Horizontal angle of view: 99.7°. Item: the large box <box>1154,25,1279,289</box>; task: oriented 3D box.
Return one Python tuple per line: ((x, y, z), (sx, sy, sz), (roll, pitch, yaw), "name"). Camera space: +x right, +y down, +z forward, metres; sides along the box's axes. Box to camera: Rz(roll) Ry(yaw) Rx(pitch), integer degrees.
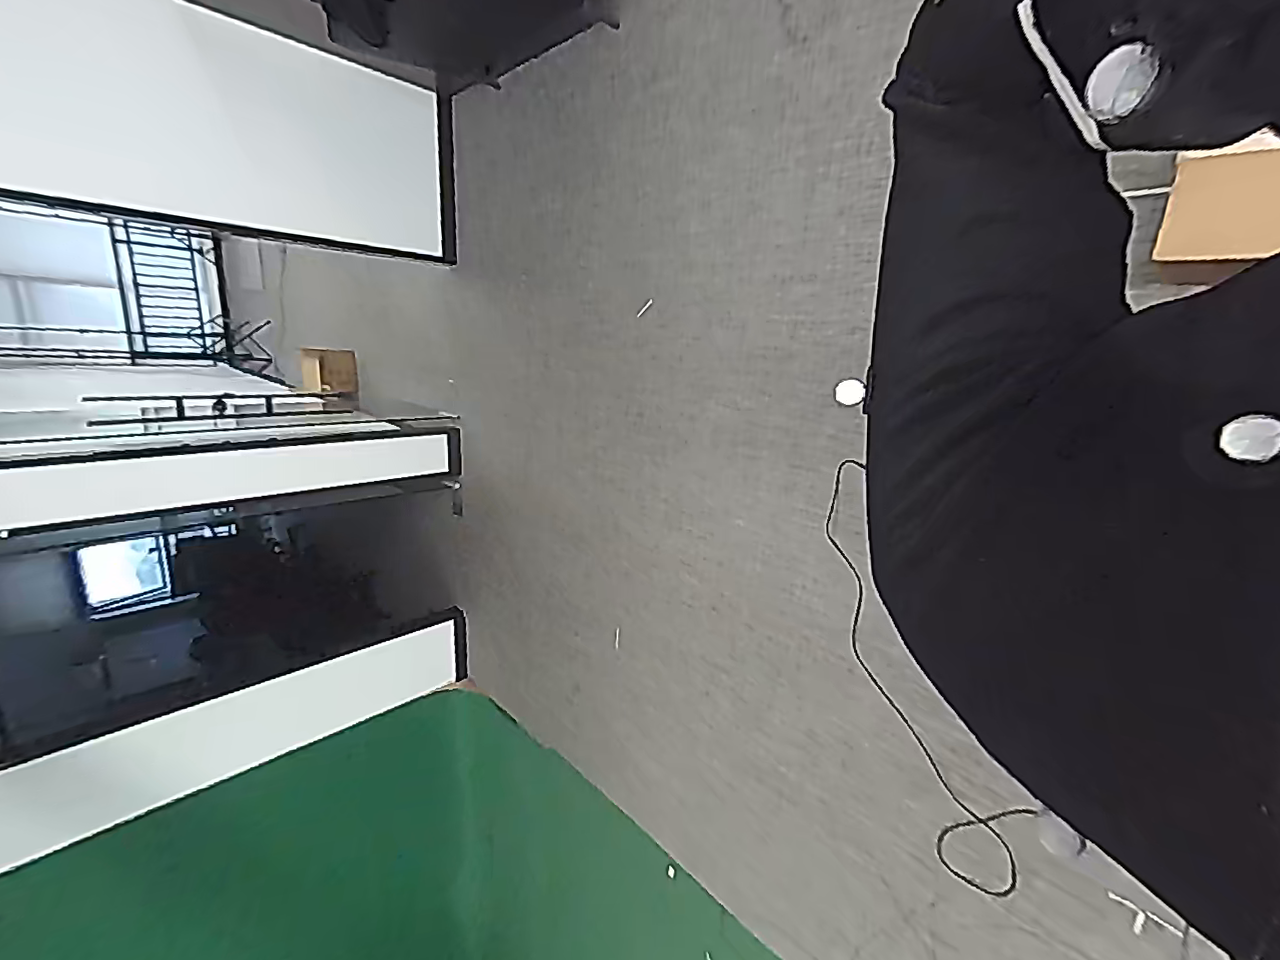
((1.072, -0.467, 0.797), (0.408, 0.320, 0.320), (19, 110, 42), "large box")
